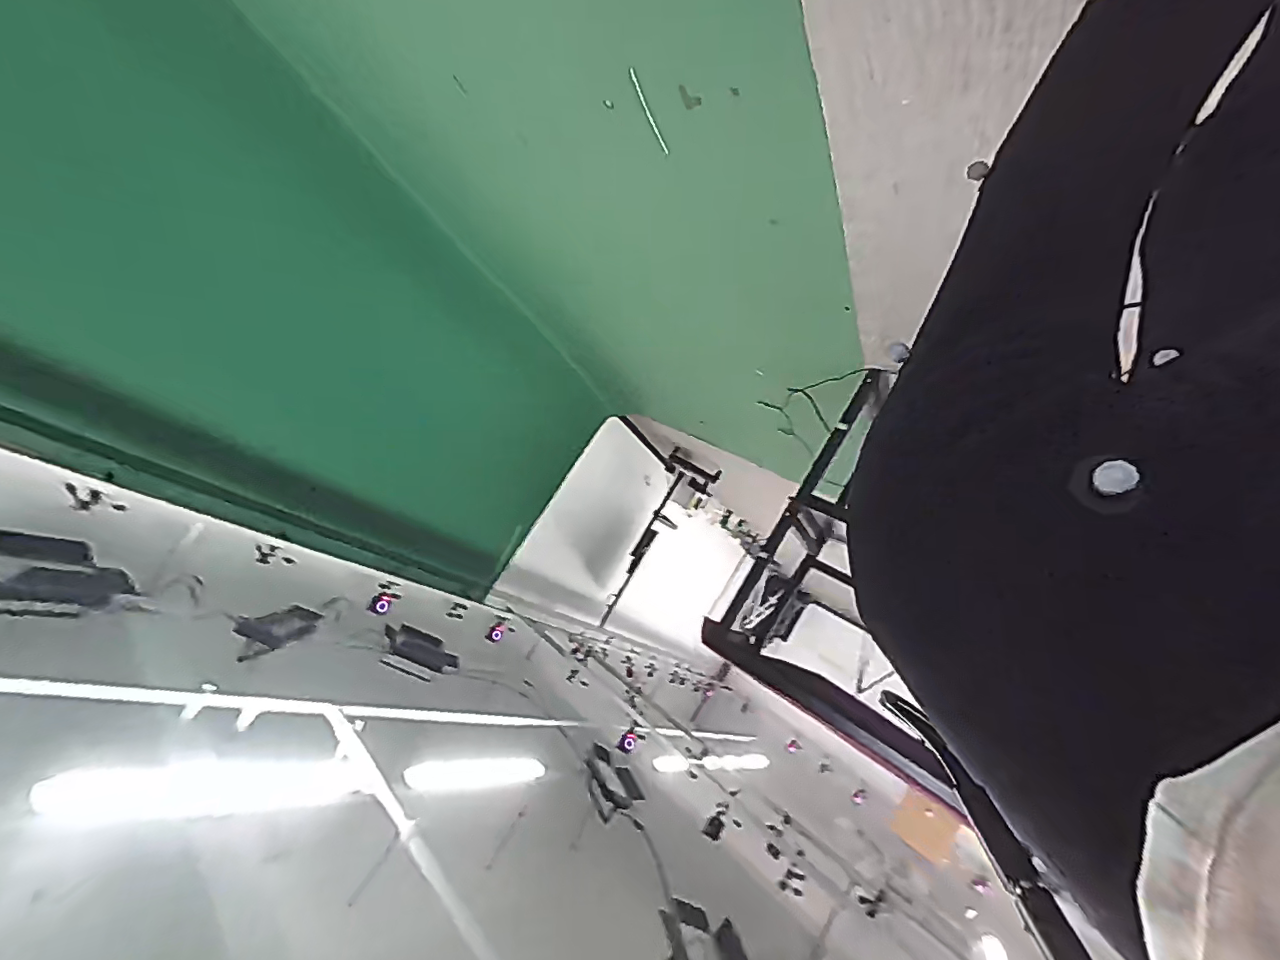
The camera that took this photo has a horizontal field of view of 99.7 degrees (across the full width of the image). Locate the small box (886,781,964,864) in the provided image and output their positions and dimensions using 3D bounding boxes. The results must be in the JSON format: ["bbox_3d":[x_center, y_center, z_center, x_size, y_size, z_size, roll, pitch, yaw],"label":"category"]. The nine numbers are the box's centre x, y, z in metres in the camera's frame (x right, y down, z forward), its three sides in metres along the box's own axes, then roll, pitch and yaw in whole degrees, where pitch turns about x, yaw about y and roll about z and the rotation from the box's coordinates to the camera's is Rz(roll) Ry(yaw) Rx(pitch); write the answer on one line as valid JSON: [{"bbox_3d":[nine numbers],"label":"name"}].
[{"bbox_3d":[0.976,1.161,1.849,0.179,0.176,0.168,29,174,39],"label":"small box"}]
